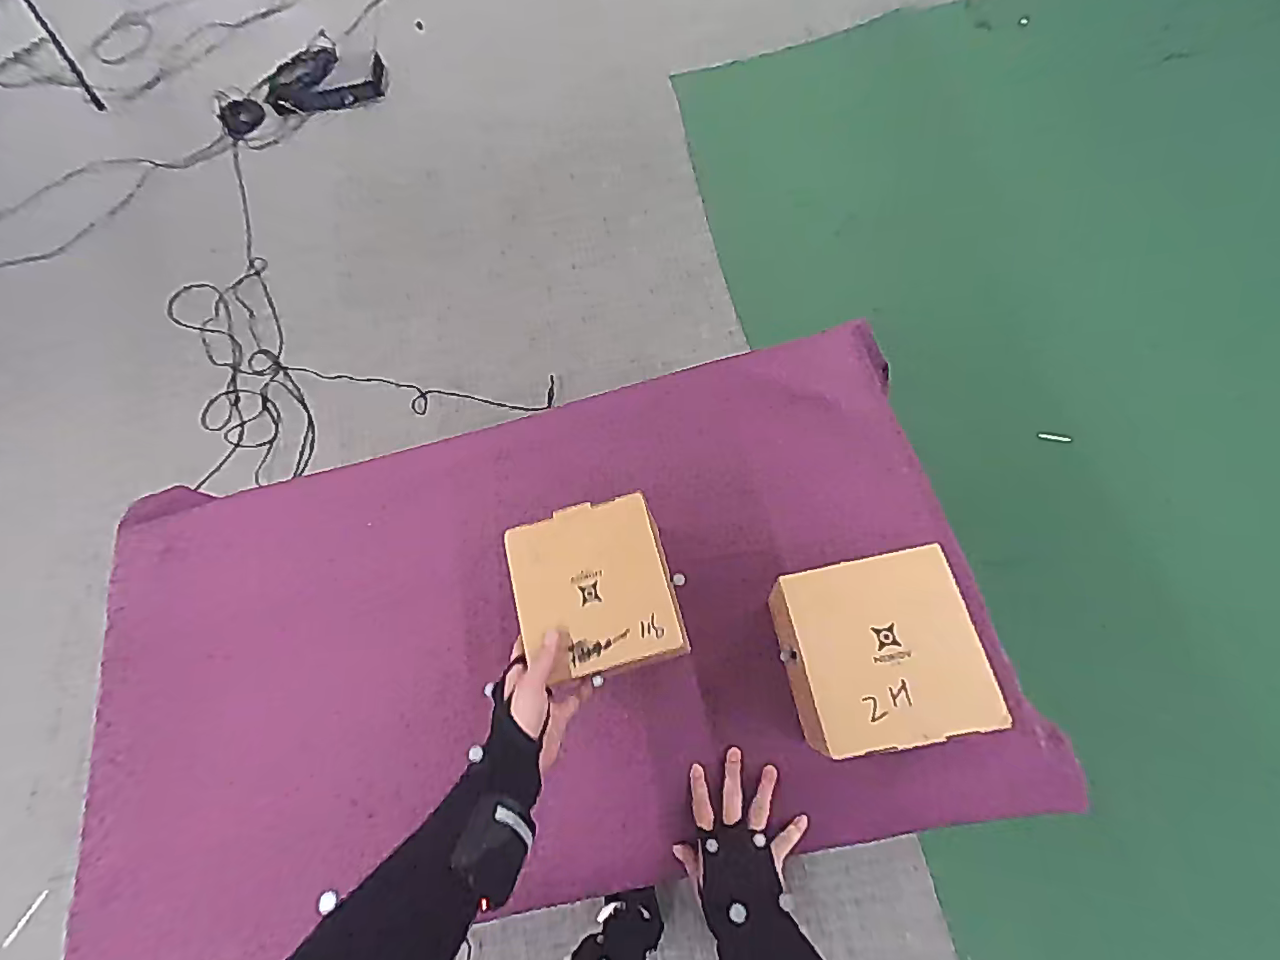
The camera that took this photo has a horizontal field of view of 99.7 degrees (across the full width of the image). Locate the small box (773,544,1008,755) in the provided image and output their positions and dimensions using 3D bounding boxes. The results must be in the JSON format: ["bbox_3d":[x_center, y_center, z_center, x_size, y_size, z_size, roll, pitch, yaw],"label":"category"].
[{"bbox_3d":[0.250,0.188,0.595,0.168,0.176,0.179,-13,68,5],"label":"small box"}]

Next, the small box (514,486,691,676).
[{"bbox_3d":[-0.039,0.132,0.660,0.168,0.176,0.179,-16,69,2],"label":"small box"}]
